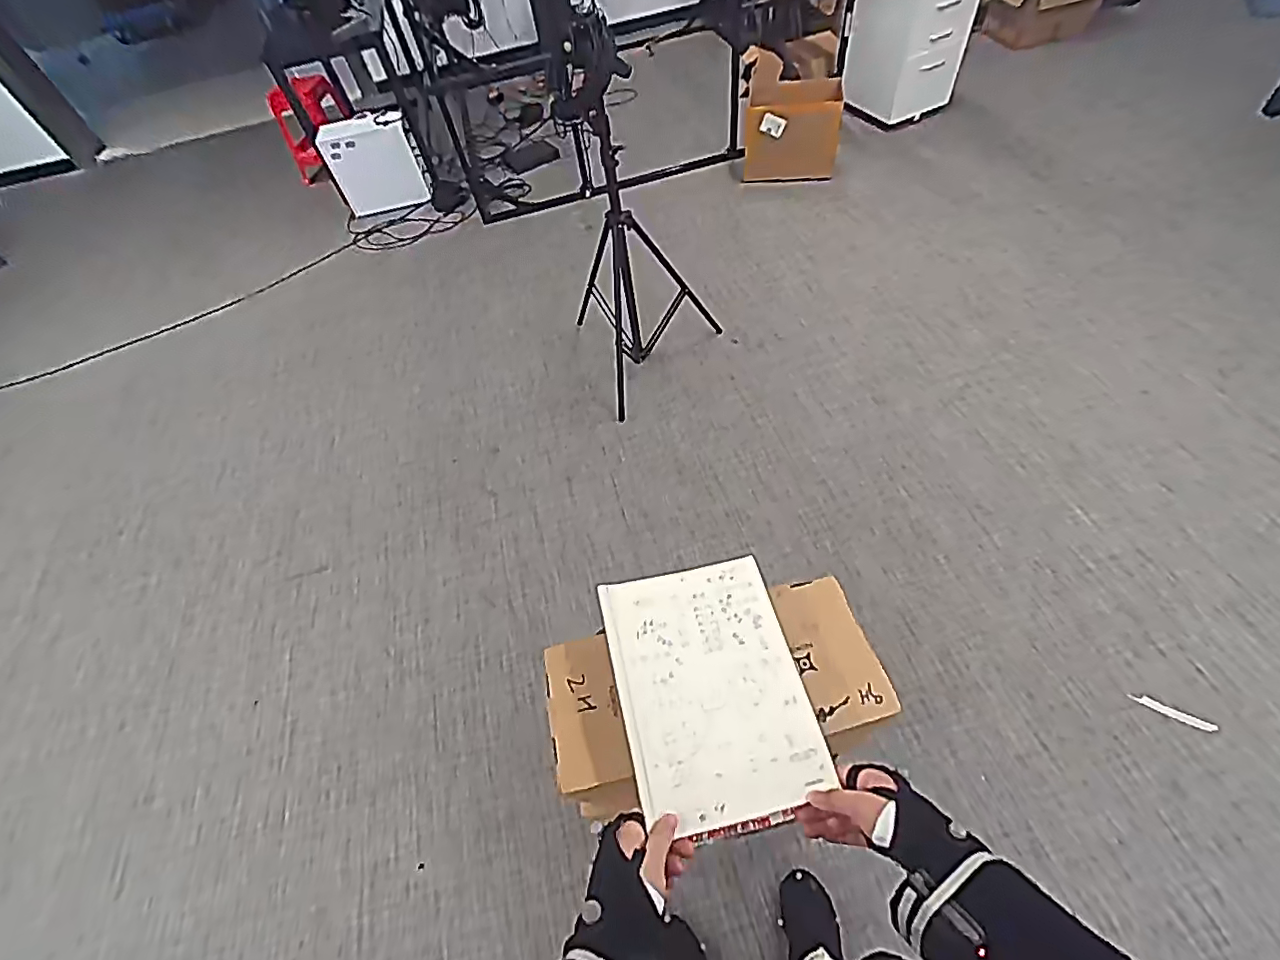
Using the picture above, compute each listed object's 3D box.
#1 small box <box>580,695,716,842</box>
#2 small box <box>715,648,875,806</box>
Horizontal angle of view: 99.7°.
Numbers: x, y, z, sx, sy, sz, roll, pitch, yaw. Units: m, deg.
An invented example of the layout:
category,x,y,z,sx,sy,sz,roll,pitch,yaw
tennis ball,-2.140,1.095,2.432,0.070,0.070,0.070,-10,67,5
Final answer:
category,x,y,z,sx,sy,sz,roll,pitch,yaw
small box,0.015,0.441,0.825,0.179,0.176,0.168,-11,56,2
small box,0.224,0.384,0.836,0.179,0.176,0.168,-16,55,-5
